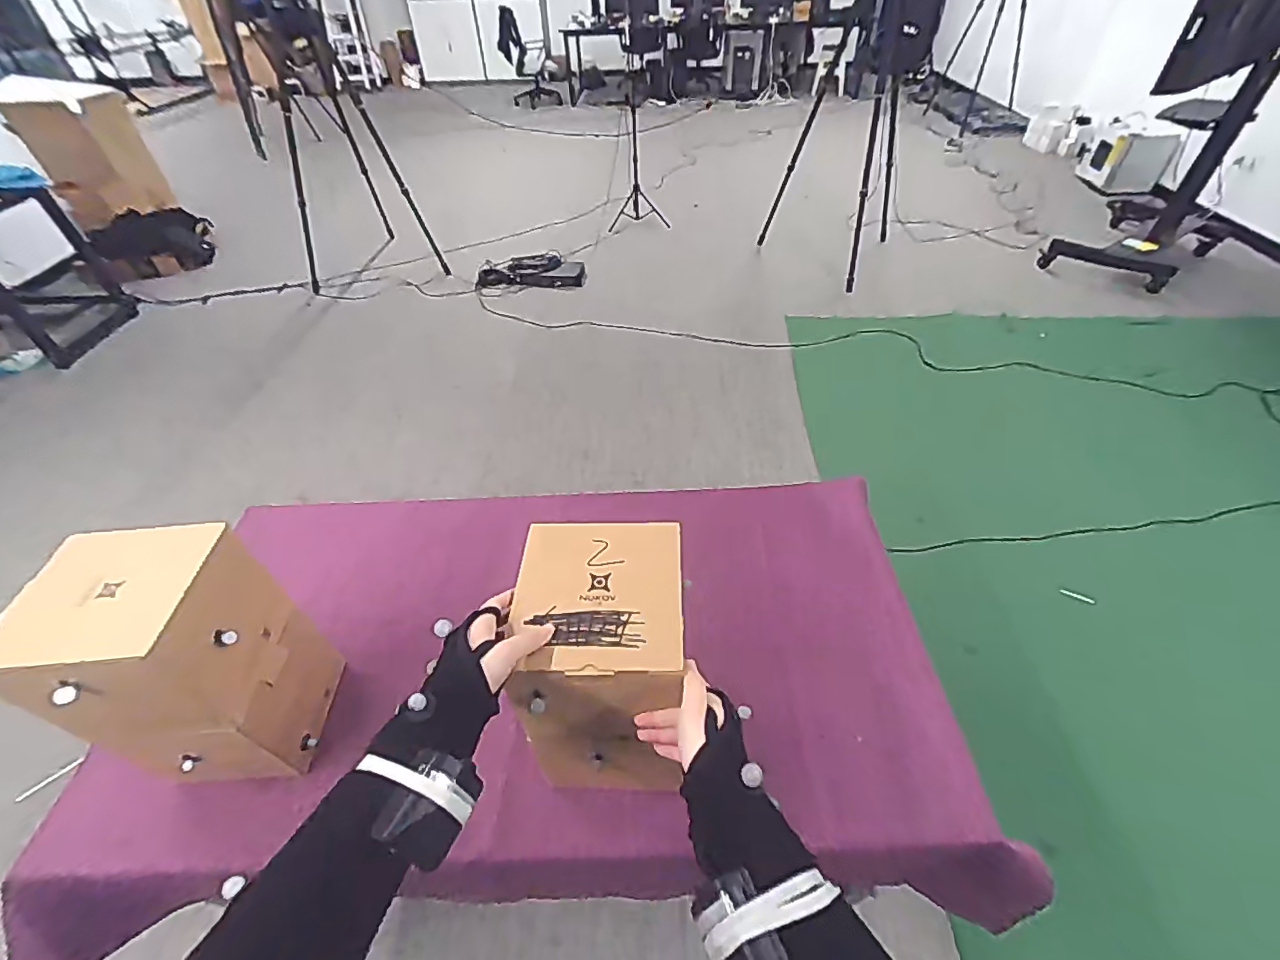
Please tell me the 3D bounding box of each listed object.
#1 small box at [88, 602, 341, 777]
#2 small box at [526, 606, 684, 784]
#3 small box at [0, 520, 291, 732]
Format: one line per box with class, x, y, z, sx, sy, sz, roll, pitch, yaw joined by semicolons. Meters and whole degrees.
small box;-0.538;0.280;0.722;0.179;0.176;0.168;-4;45;0
small box;-0.032;0.279;0.699;0.179;0.176;0.168;1;46;4
small box;-0.539;0.165;0.607;0.179;0.176;0.168;-5;45;-1
